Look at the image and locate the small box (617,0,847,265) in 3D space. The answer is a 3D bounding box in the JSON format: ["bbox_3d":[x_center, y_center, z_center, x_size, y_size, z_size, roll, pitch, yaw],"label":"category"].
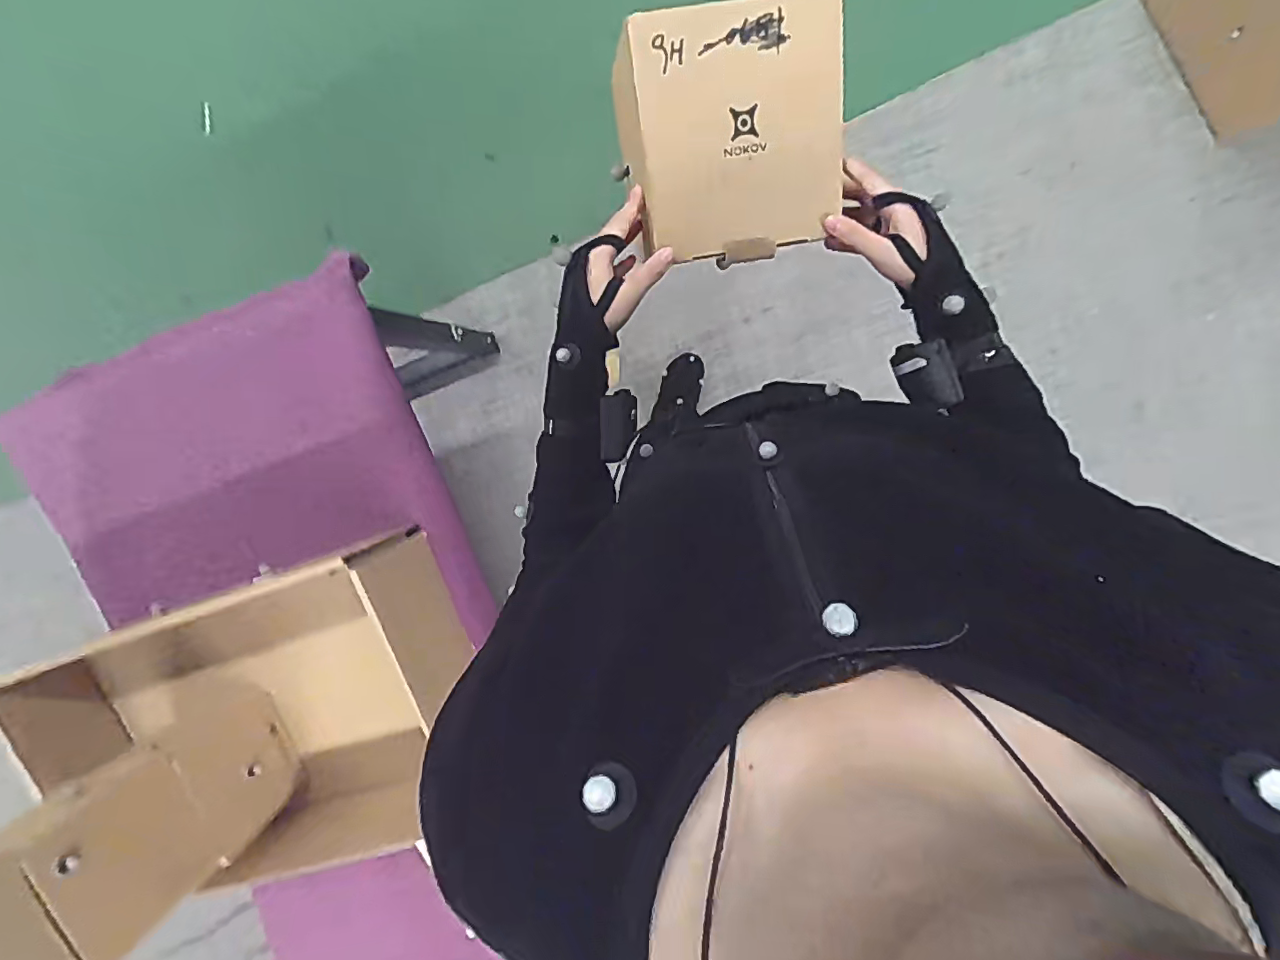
[{"bbox_3d":[0.074,-0.308,0.503,0.168,0.176,0.179,-10,115,-3],"label":"small box"}]

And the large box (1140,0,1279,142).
[{"bbox_3d":[1.342,-0.992,1.061,0.320,0.320,0.408,-35,94,10],"label":"large box"}]

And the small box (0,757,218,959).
[{"bbox_3d":[-0.662,0.473,0.639,0.168,0.176,0.179,-21,97,7],"label":"small box"}]

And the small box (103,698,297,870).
[{"bbox_3d":[-0.650,0.453,0.799,0.179,0.176,0.168,-19,97,7],"label":"small box"}]
